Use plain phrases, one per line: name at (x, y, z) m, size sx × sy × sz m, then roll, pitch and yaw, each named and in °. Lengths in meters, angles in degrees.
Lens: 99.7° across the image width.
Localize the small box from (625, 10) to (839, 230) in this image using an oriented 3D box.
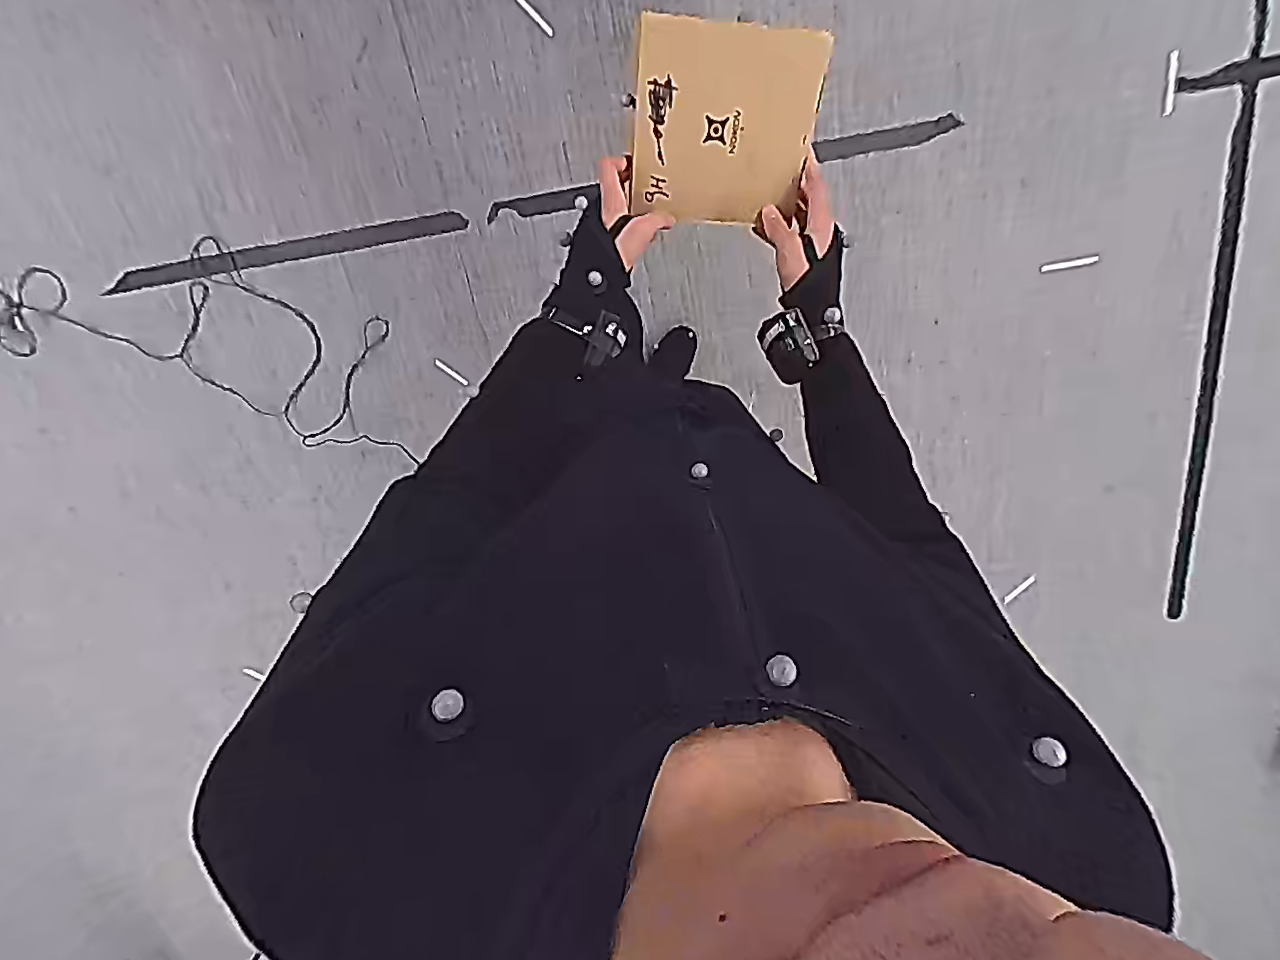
small box at (0.080, -0.383, 0.582) m, size 0.179 × 0.176 × 0.168 m, roll 2°, pitch 127°, yaw -6°
